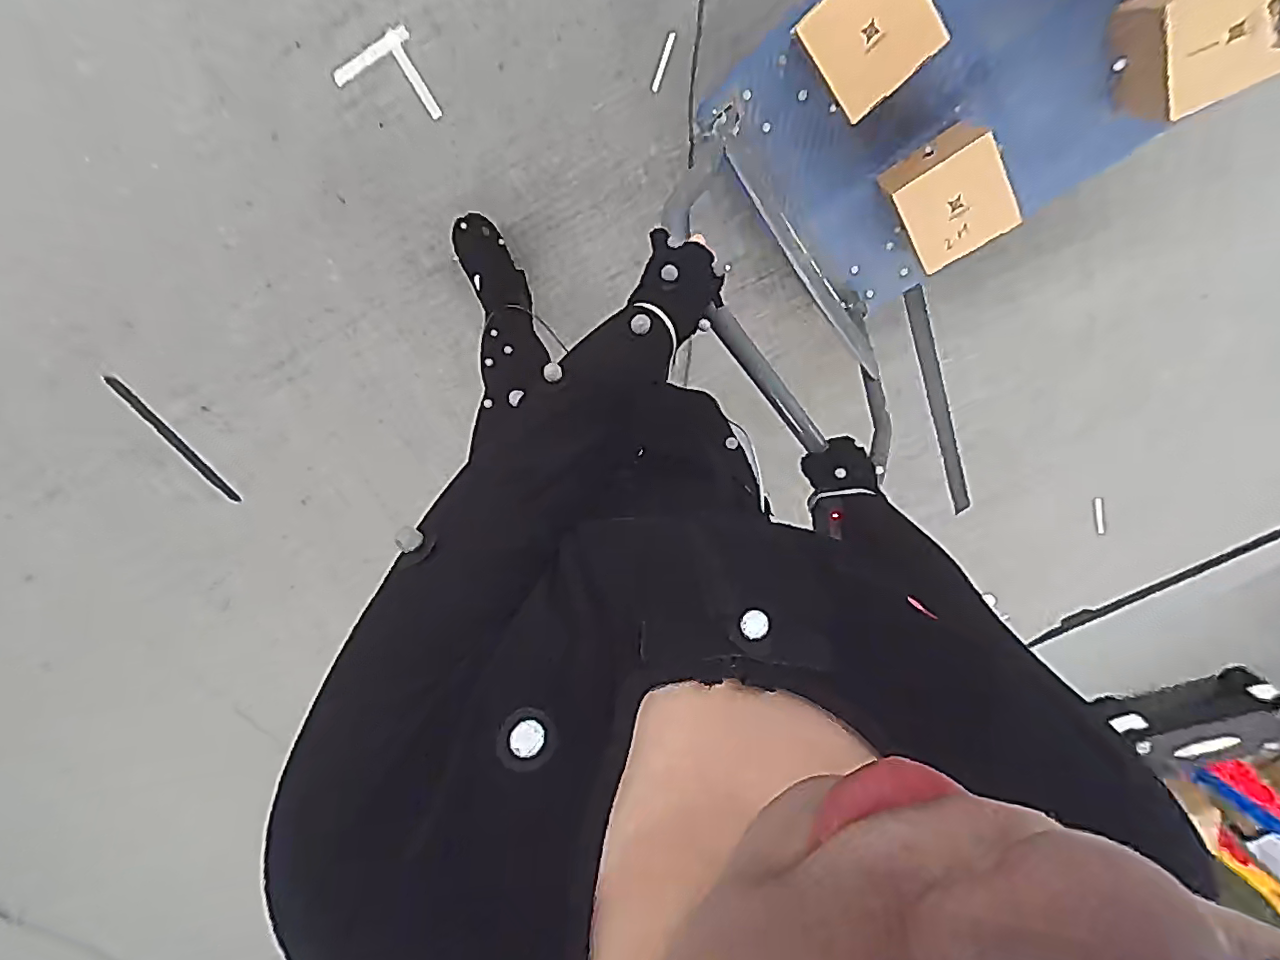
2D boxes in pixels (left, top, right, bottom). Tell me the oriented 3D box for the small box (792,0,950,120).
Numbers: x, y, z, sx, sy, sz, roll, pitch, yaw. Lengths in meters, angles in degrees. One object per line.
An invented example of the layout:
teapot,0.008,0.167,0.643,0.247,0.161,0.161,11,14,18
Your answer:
small box,0.371,-0.743,0.900,0.168,0.176,0.179,-34,117,30

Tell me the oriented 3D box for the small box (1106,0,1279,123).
small box,0.876,-0.697,0.840,0.179,0.176,0.168,-20,122,25

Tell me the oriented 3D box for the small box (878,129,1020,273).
small box,0.574,-0.533,1.025,0.168,0.176,0.179,-26,119,28
